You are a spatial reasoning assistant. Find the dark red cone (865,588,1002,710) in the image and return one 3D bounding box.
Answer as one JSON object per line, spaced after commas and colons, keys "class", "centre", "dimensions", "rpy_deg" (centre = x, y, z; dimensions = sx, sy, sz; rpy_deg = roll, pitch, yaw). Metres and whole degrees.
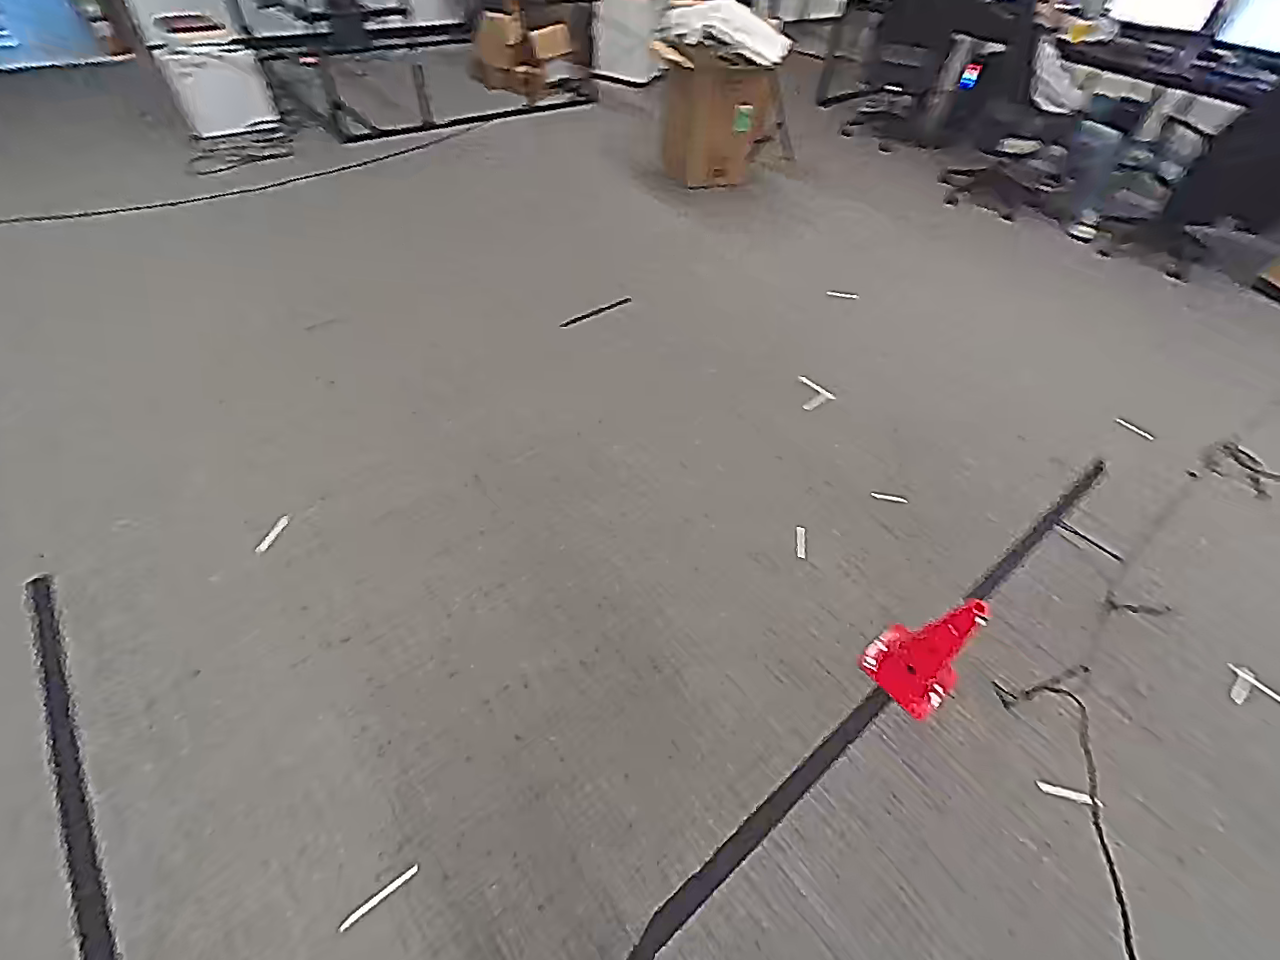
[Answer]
{"class": "dark red cone", "centre": [0.734, 0.373, 1.301], "dimensions": [0.202, 0.394, 0.201], "rpy_deg": [-30, 59, -27]}
